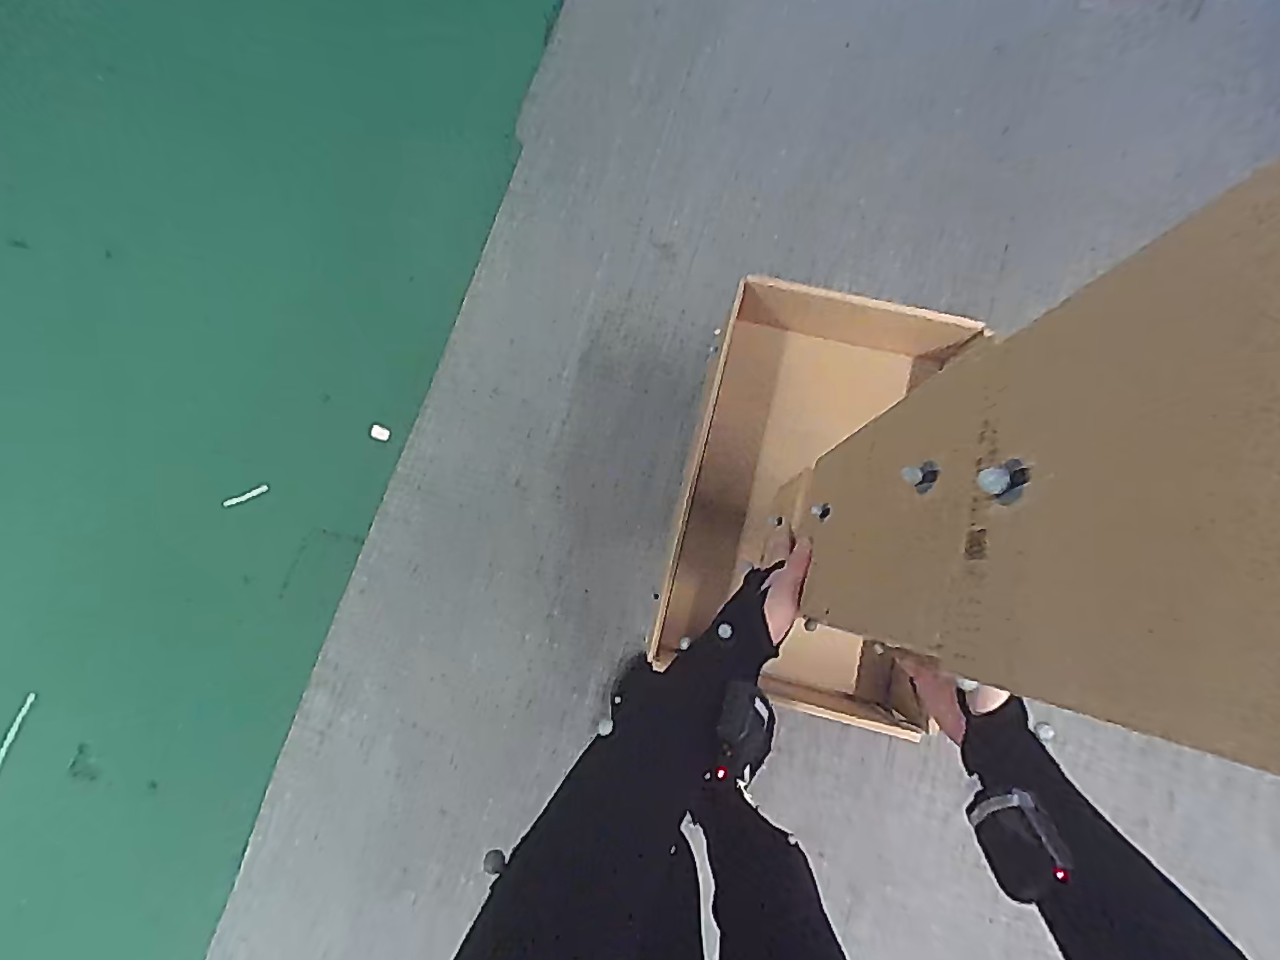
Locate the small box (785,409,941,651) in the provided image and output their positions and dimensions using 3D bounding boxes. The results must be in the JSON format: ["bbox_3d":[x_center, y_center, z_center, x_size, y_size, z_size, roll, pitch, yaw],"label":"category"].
[{"bbox_3d":[0.251,0.059,0.517,0.168,0.176,0.179,18,80,4],"label":"small box"}]

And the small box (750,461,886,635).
[{"bbox_3d":[0.249,0.093,0.678,0.179,0.176,0.168,16,80,3],"label":"small box"}]
